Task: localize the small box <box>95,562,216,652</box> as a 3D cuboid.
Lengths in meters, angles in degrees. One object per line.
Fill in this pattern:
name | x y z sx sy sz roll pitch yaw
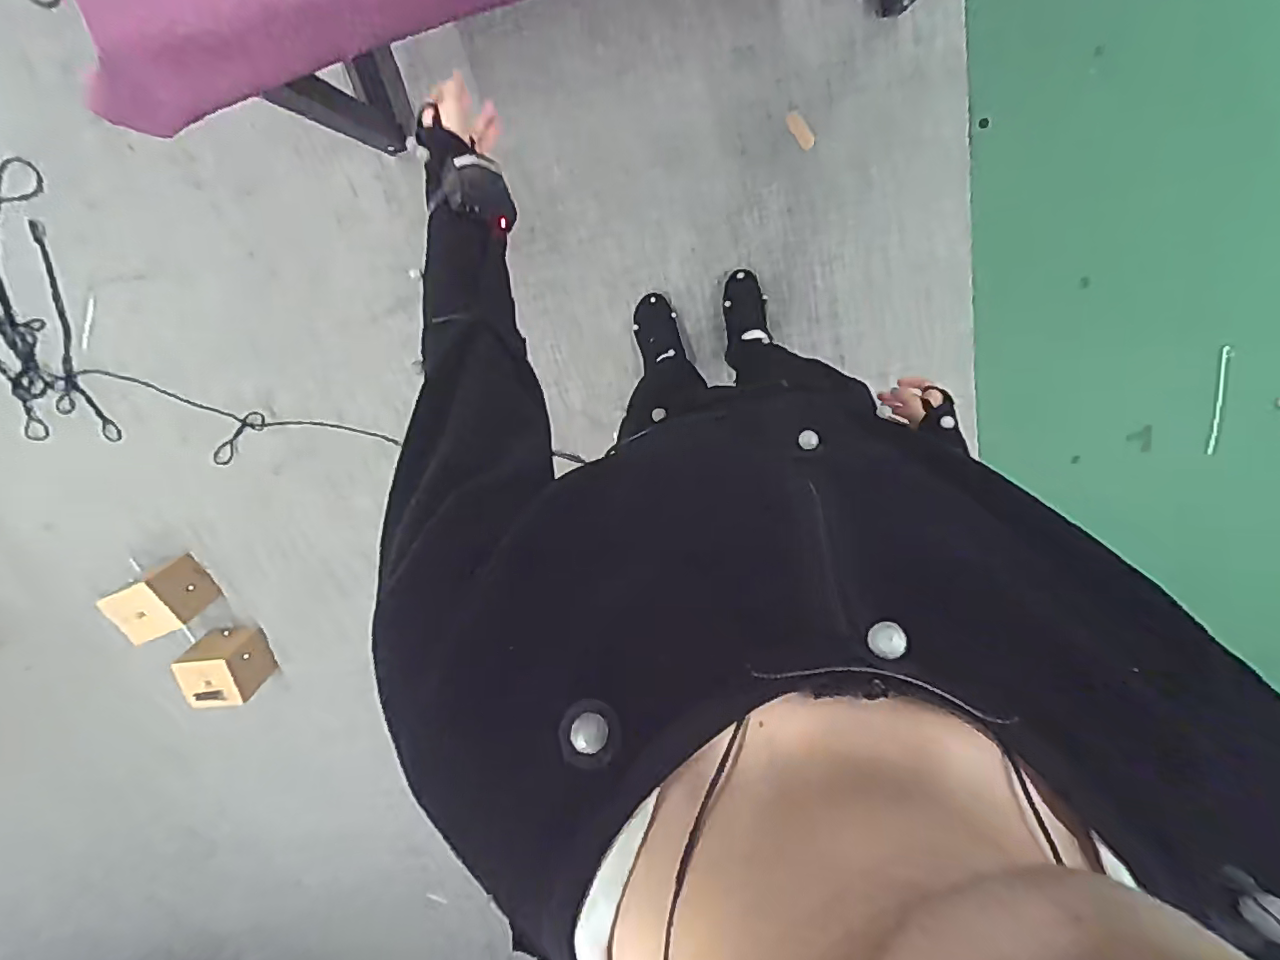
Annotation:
small box | -1.402 0.366 1.586 0.179 0.176 0.168 -21 110 8
